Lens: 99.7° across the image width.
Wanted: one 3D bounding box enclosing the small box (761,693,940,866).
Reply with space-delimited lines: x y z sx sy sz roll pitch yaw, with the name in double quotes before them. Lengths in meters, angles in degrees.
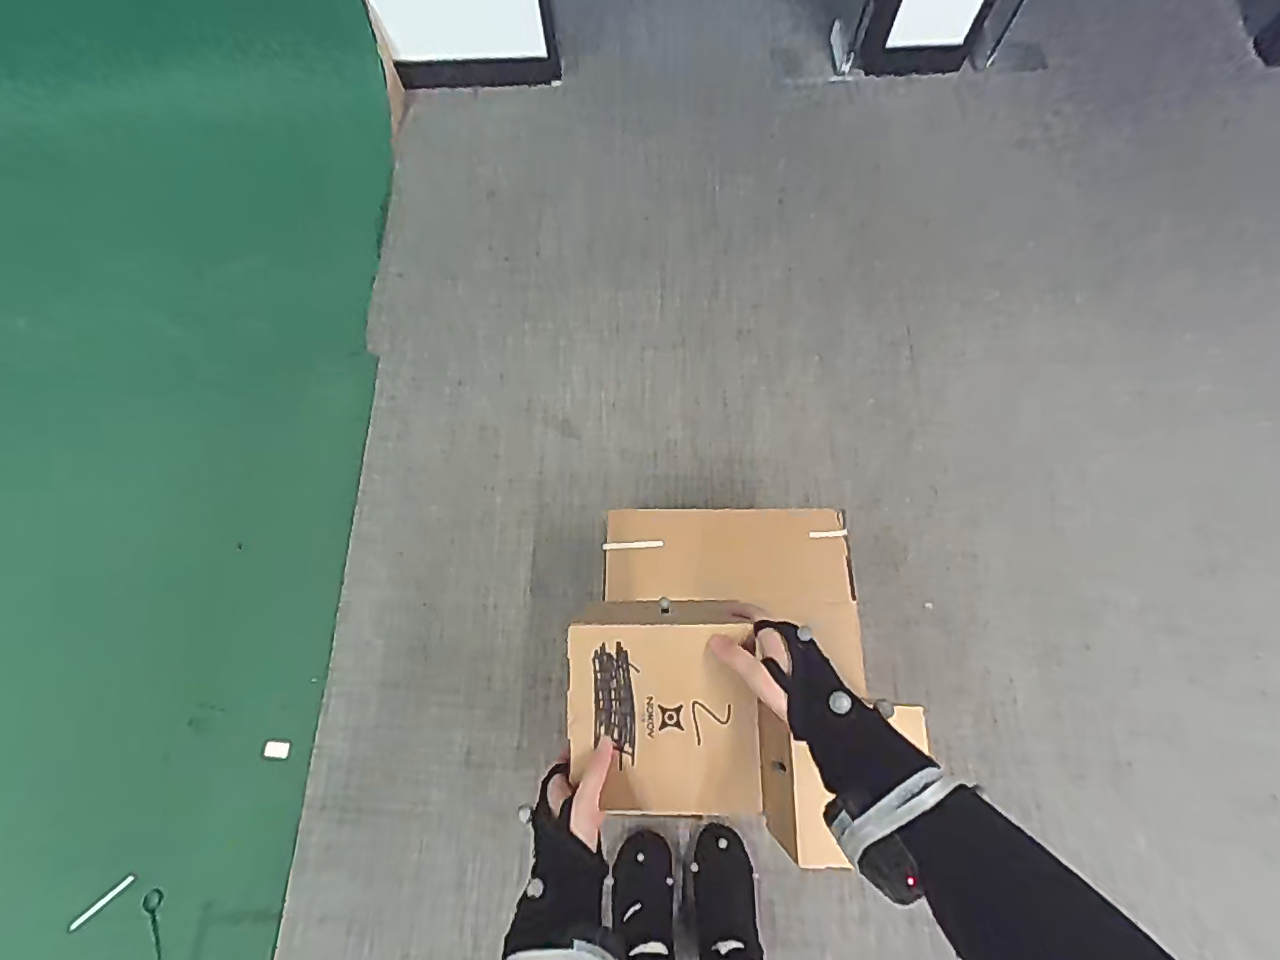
"small box" 0.259 0.379 0.713 0.168 0.176 0.179 1 71 1
